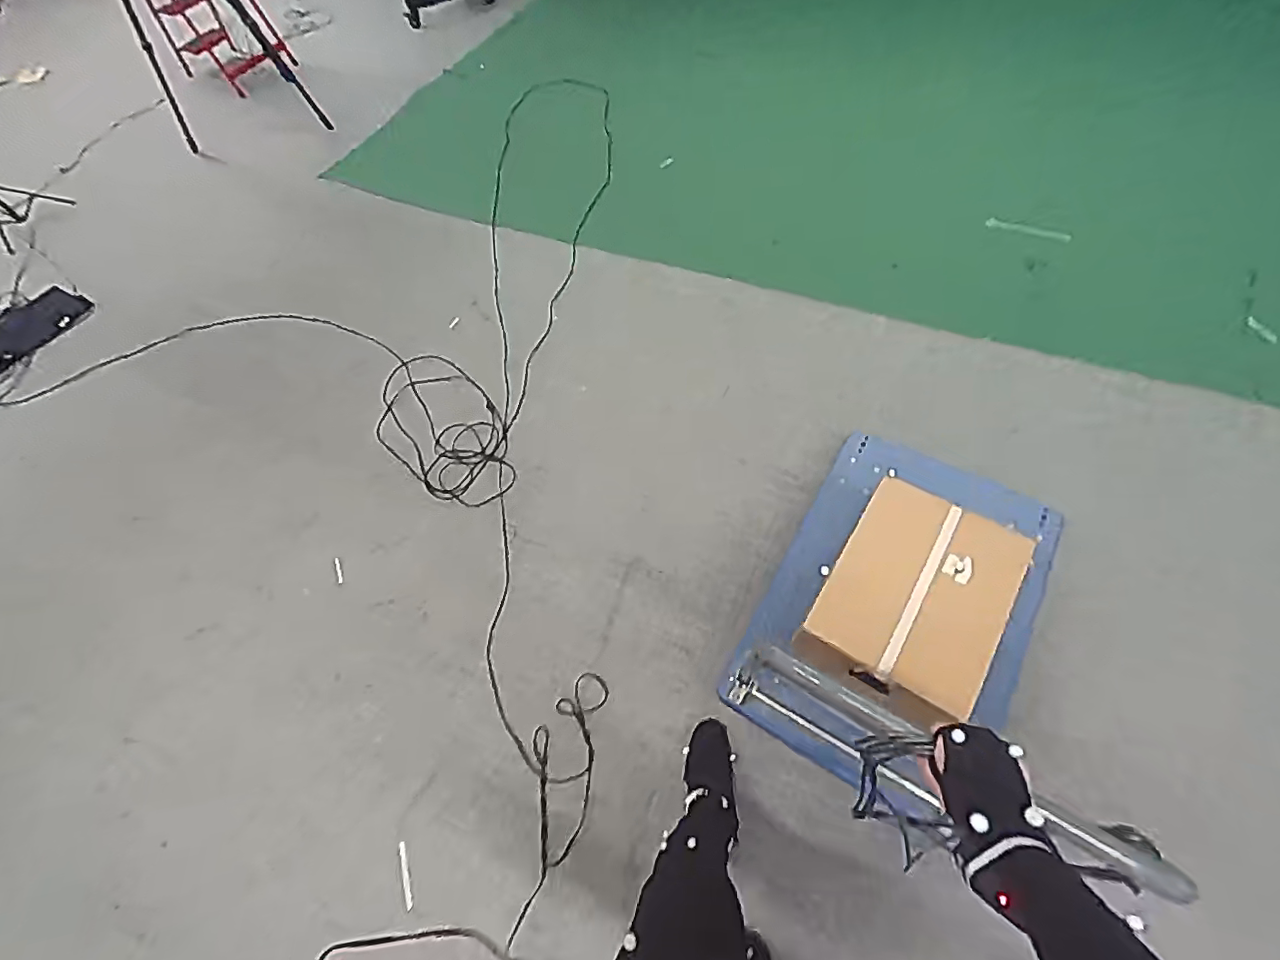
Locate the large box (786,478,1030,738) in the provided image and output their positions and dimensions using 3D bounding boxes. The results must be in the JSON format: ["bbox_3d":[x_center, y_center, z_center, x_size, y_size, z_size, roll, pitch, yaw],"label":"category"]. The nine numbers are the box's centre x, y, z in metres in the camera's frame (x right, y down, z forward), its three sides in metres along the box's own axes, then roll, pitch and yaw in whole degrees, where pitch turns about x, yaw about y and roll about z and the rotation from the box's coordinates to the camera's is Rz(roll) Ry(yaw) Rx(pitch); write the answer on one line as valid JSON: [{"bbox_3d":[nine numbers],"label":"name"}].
[{"bbox_3d":[0.559,0.284,1.182,0.320,0.320,0.408,29,67,20],"label":"large box"}]
